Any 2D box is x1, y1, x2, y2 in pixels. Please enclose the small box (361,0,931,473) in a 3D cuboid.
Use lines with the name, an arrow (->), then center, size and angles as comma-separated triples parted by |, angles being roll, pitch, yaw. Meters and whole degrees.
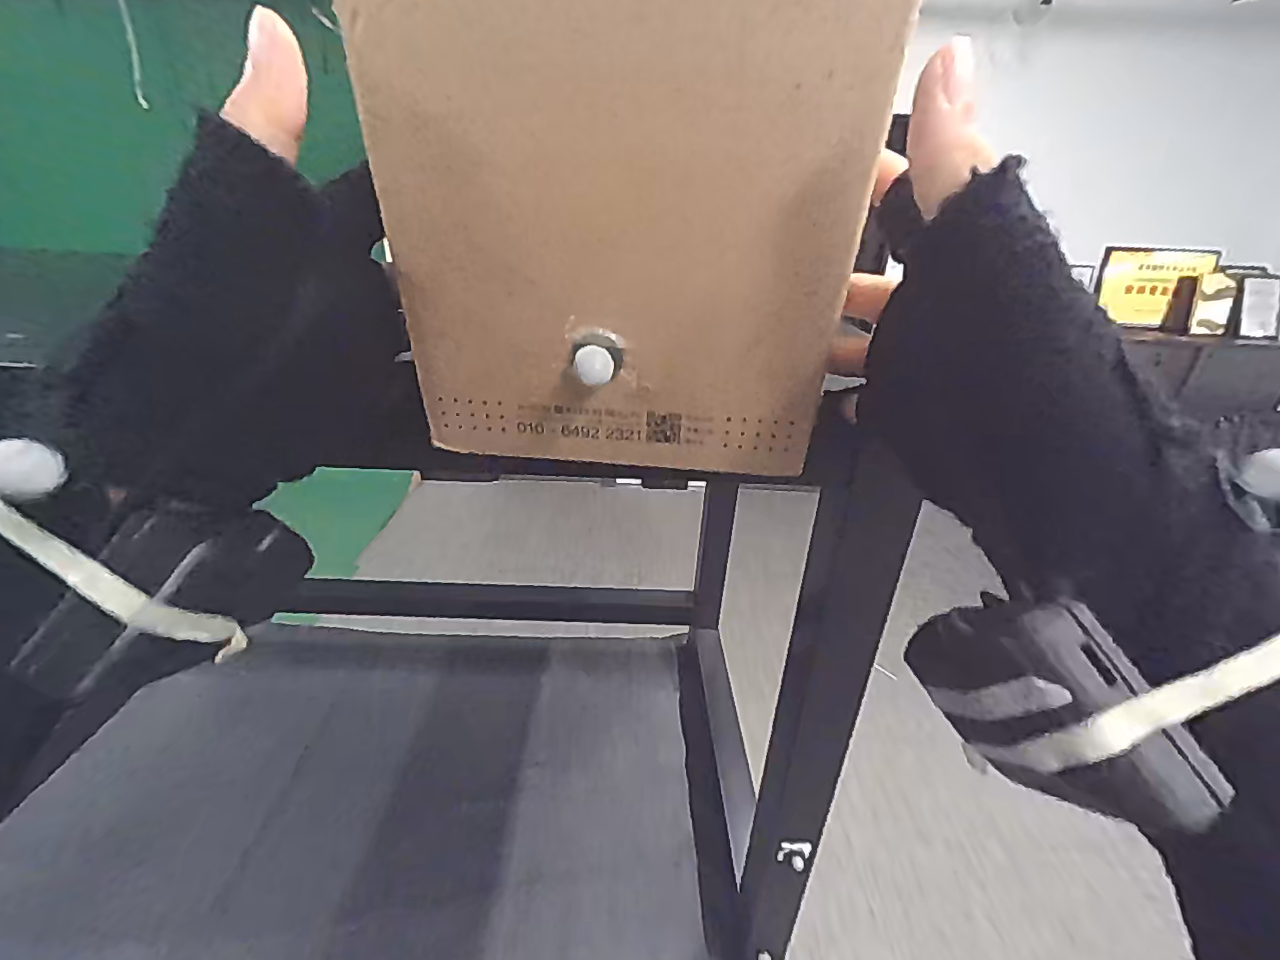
small box -> 0.002, -0.125, 0.256 | 0.168, 0.176, 0.179 | 5, 37, 4
